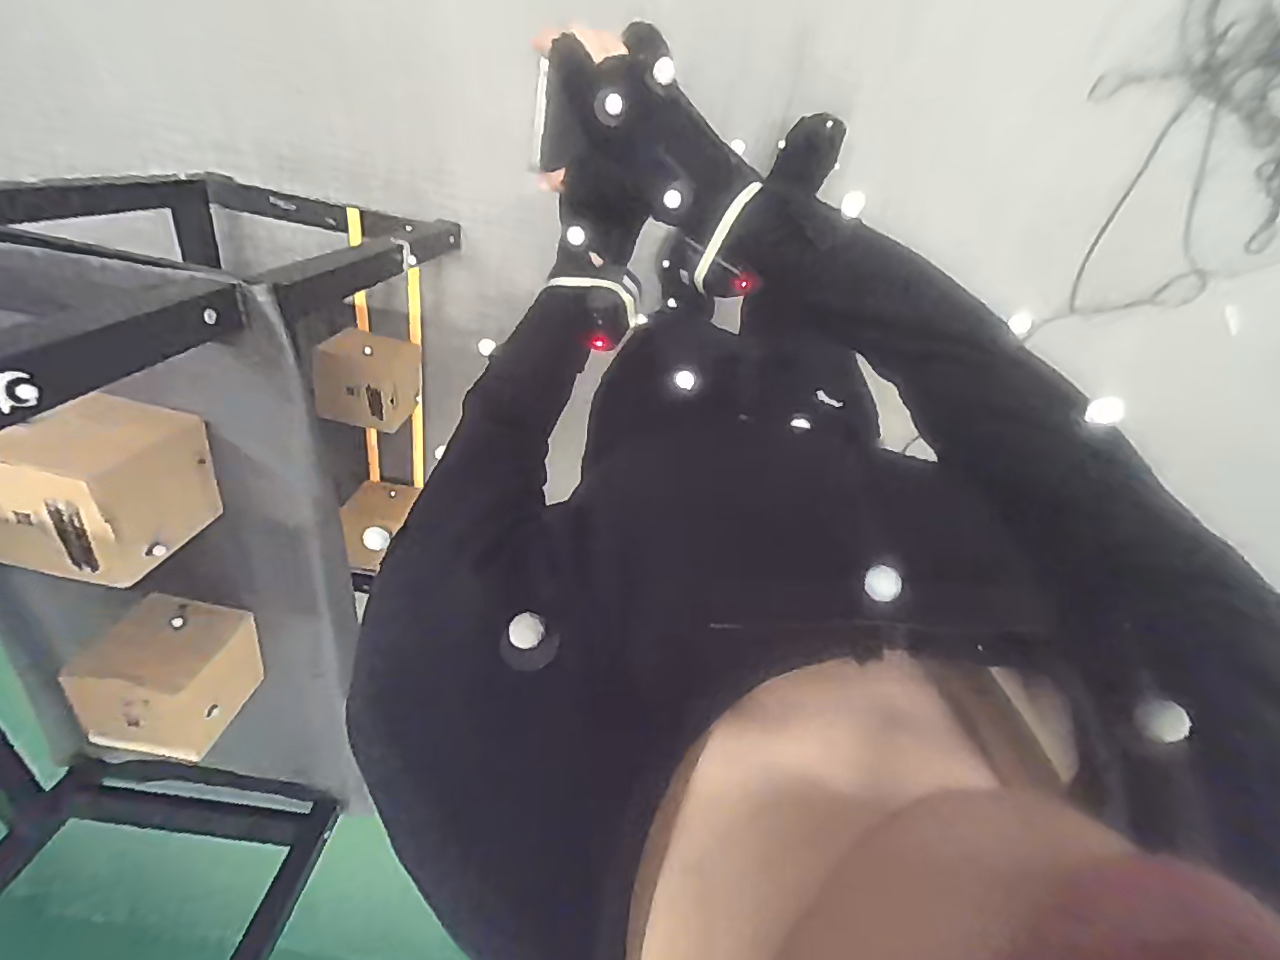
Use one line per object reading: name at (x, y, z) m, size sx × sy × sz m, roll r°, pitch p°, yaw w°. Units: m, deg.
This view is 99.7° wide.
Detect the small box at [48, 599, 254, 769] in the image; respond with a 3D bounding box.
small box at (-0.756, 0.322, 0.865) m, size 0.168 × 0.176 × 0.179 m, roll 13°, pitch 121°, yaw -5°

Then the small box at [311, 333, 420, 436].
small box at (-0.629, -0.228, 1.257) m, size 0.179 × 0.176 × 0.168 m, roll 14°, pitch 120°, yaw -6°
